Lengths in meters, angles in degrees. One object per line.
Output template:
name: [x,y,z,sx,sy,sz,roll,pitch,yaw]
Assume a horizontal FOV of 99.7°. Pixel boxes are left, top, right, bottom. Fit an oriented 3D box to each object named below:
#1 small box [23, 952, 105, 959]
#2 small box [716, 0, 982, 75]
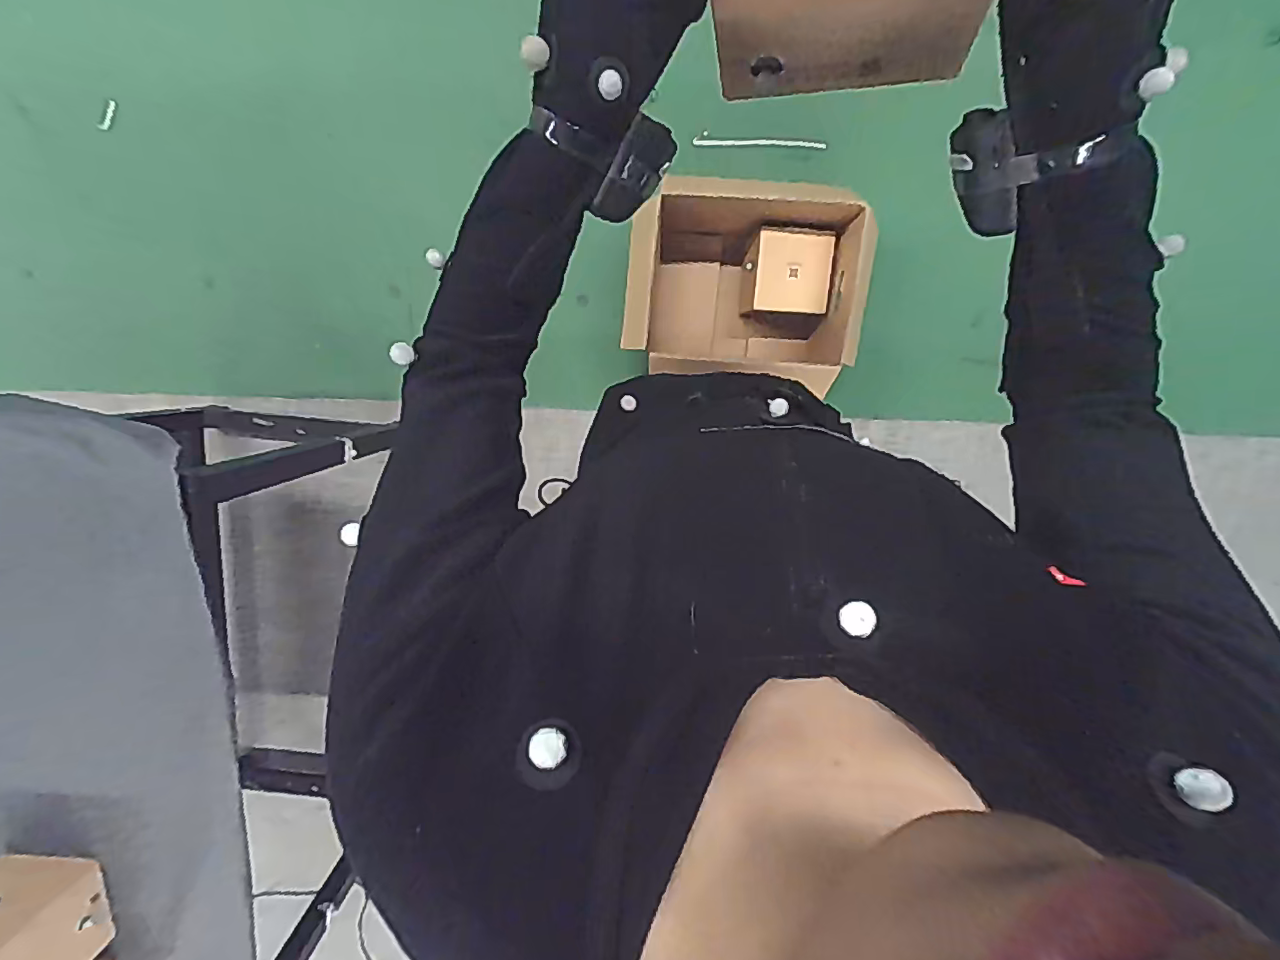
small box: [-1.026,0.939,0.899,0.179,0.176,0.168,4,102,2]
small box: [0.131,-0.377,0.316,0.168,0.176,0.179,4,90,14]
